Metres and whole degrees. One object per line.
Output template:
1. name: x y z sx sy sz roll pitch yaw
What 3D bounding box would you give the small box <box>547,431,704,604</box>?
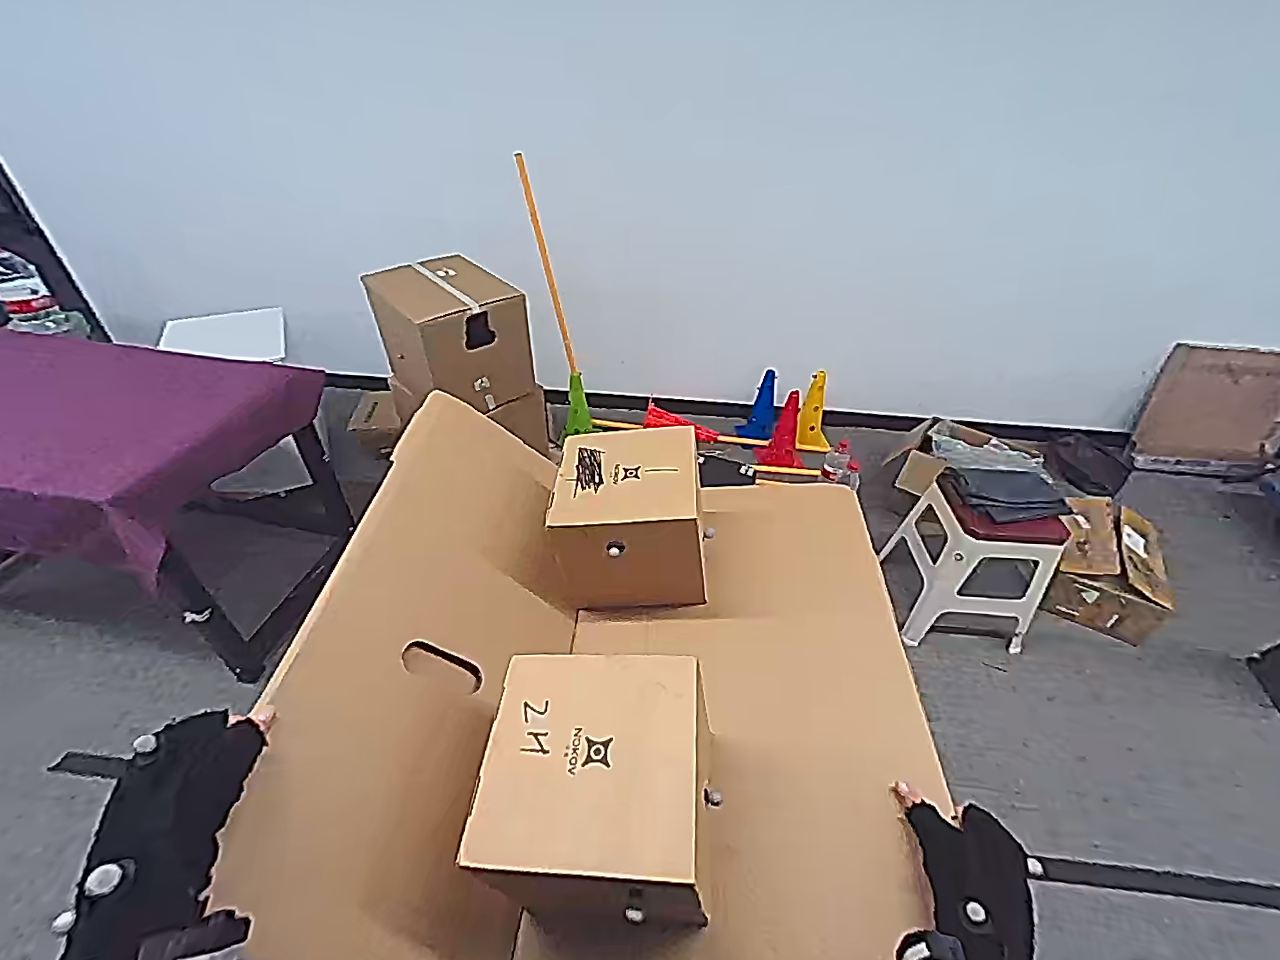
1. small box: -0.007 0.054 0.730 0.179 0.176 0.168 -3 43 8
